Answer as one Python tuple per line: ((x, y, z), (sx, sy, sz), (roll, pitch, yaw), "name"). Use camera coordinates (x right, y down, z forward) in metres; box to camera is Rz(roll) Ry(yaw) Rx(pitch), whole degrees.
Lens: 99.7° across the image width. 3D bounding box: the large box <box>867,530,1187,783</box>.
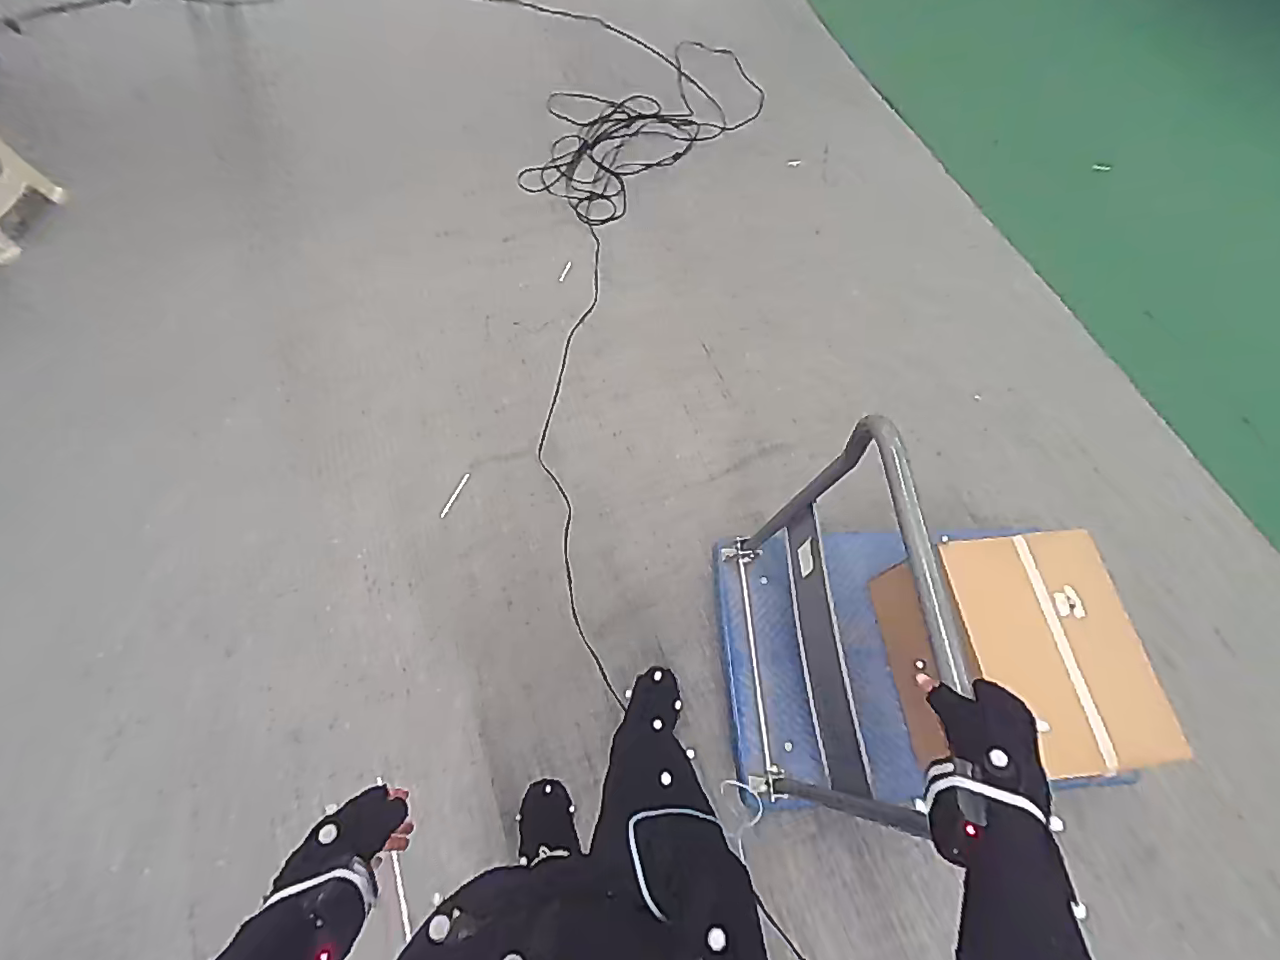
((0.715, 0.351, 1.084), (0.320, 0.320, 0.408), (-4, 65, -7), "large box")
